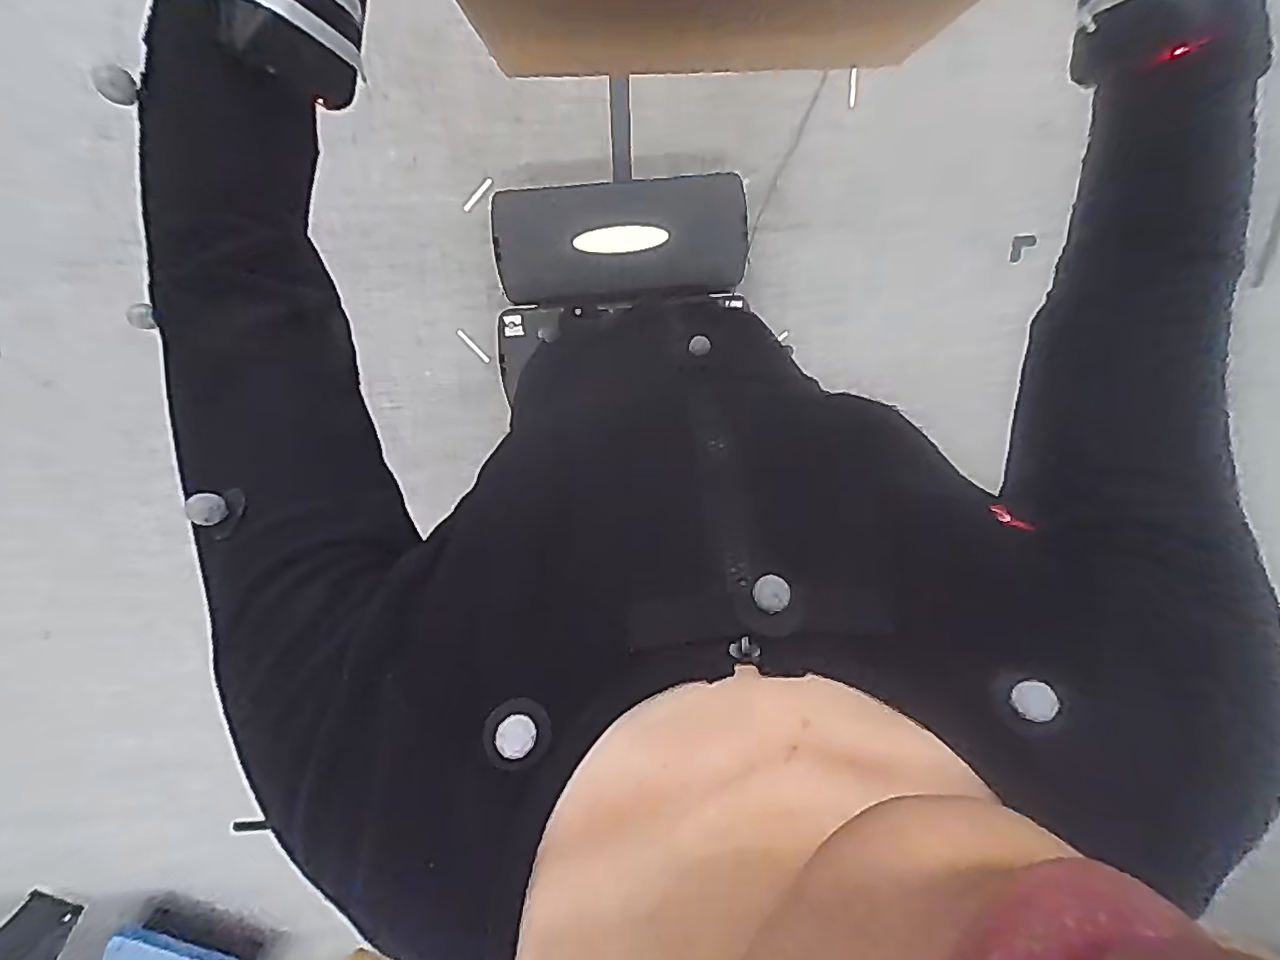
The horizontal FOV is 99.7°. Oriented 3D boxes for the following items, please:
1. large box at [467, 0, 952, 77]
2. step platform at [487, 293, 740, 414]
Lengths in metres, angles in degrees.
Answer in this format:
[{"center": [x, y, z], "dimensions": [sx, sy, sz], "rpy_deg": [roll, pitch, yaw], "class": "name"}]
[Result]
[{"center": [0.056, -0.512, 0.361], "dimensions": [0.408, 0.320, 0.320], "rpy_deg": [-3, 111, -1], "class": "large box"}, {"center": [-0.069, -0.350, 1.501], "dimensions": [0.684, 0.204, 0.286], "rpy_deg": [-4, 109, 0], "class": "step platform"}]
